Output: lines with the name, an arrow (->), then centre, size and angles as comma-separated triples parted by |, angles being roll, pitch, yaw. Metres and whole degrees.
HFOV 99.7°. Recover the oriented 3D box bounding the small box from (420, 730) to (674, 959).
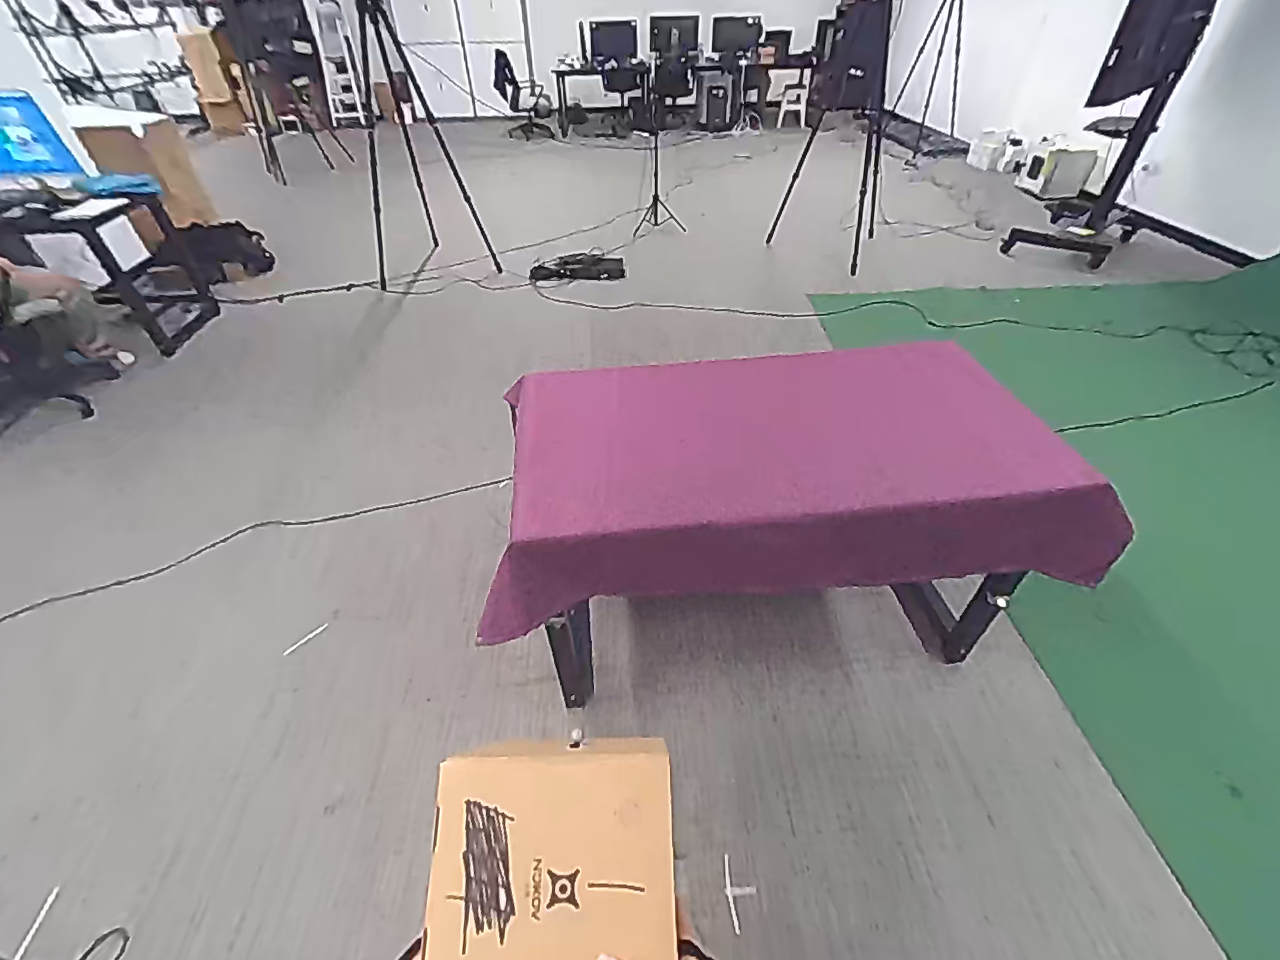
small box -> -0.062, 0.310, 0.460 | 0.179, 0.176, 0.168 | -1, 68, 0
